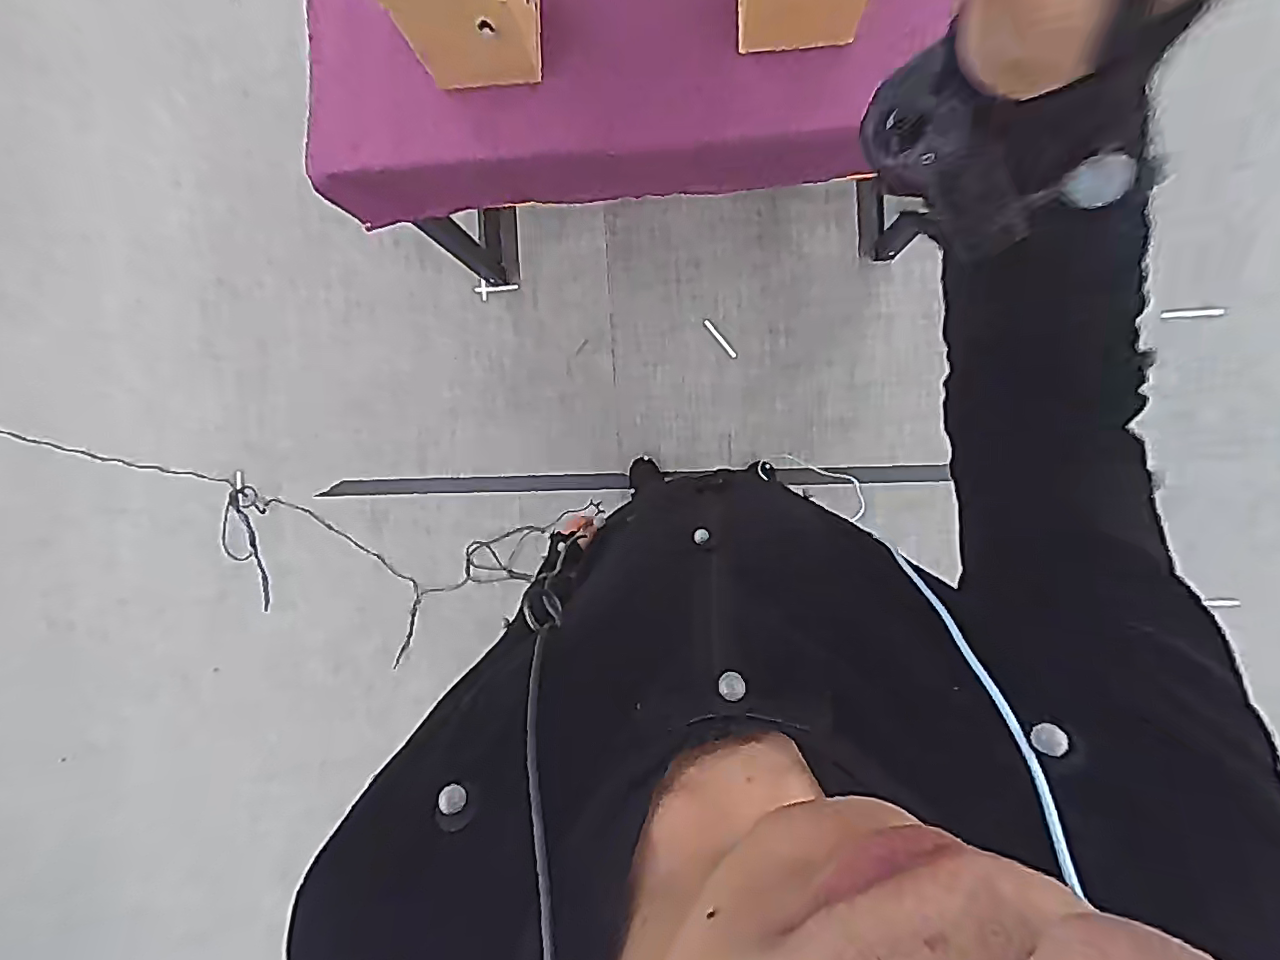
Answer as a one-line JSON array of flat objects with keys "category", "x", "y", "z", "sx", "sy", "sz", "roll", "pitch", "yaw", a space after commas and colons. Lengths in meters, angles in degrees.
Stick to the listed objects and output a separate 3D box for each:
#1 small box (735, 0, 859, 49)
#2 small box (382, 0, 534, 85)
[{"category": "small box", "x": 0.226, "y": -0.753, "z": 0.762, "sx": 0.179, "sy": 0.176, "sz": 0.168, "roll": -1, "pitch": 93, "yaw": 5}, {"category": "small box", "x": -0.260, "y": -0.730, "z": 0.808, "sx": 0.179, "sy": 0.176, "sz": 0.168, "roll": 0, "pitch": 93, "yaw": 5}]
